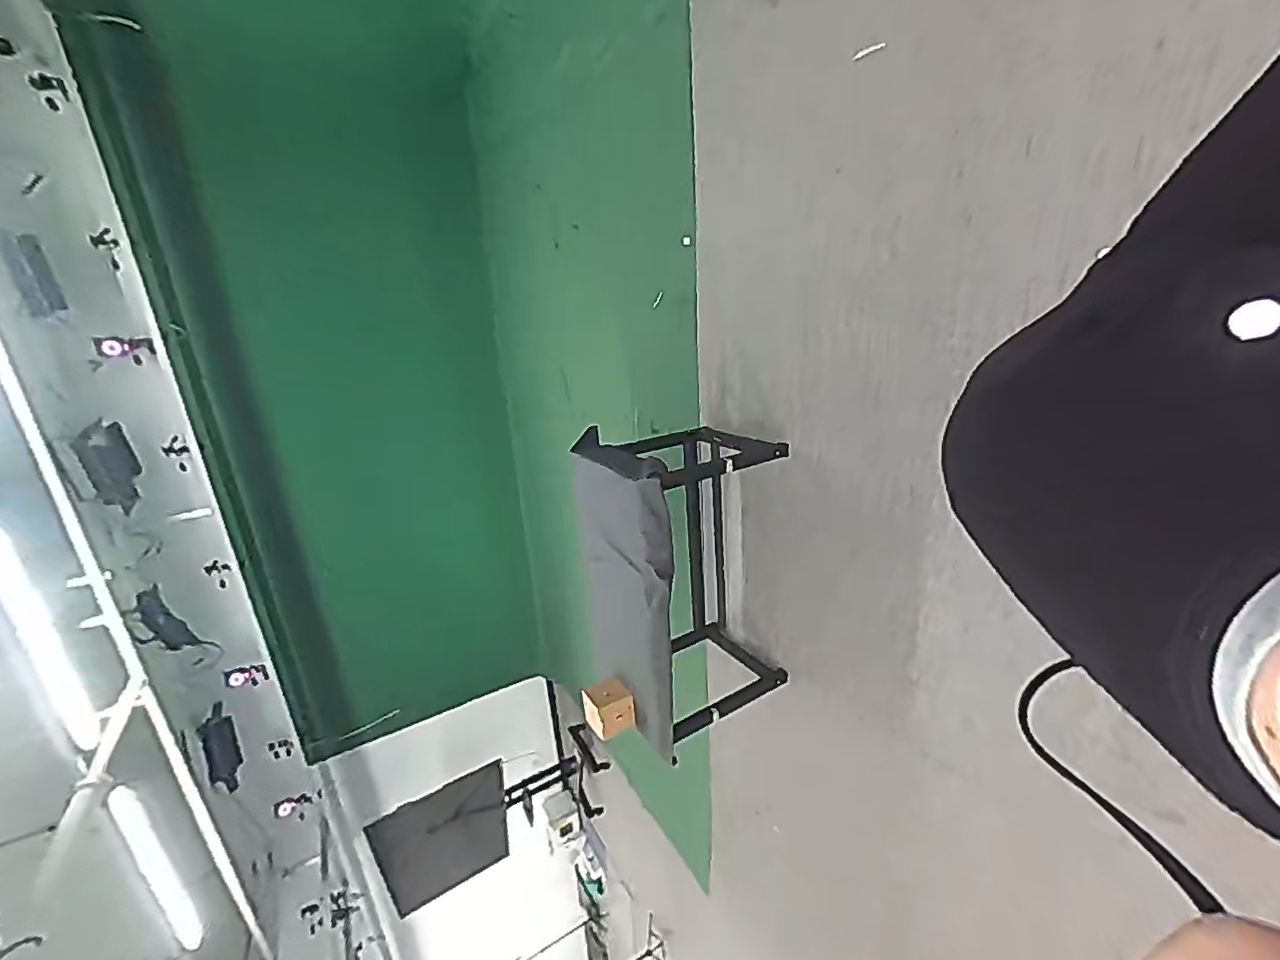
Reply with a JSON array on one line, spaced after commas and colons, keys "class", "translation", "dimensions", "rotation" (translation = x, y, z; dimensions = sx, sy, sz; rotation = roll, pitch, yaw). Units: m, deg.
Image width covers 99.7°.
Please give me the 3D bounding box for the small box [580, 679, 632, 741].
[{"class": "small box", "translation": [-0.146, 1.020, 2.417], "dimensions": [0.179, 0.176, 0.168], "rotation": [17, 116, 58]}]
